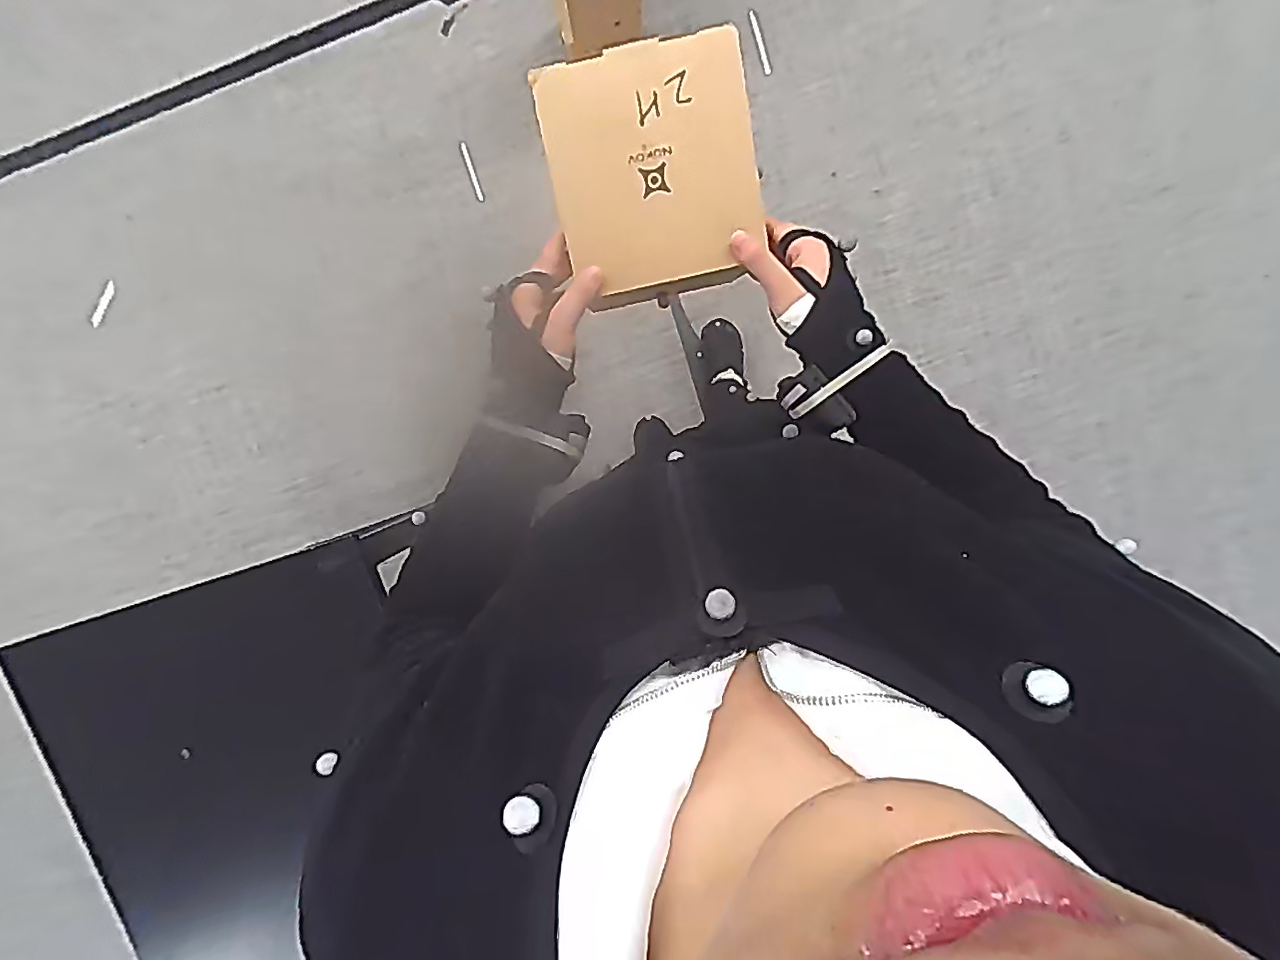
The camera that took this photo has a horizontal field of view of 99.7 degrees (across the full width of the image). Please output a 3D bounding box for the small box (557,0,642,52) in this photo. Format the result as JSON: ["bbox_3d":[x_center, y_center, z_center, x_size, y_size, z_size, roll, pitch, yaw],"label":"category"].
[{"bbox_3d":[-0.100,-1.069,1.139,0.168,0.176,0.179,-20,94,4],"label":"small box"}]

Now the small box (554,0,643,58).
[{"bbox_3d":[-0.097,-1.087,1.302,0.179,0.176,0.168,-19,95,5],"label":"small box"}]

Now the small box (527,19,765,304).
[{"bbox_3d":[0.009,-0.272,0.512,0.168,0.176,0.179,-12,103,2],"label":"small box"}]
